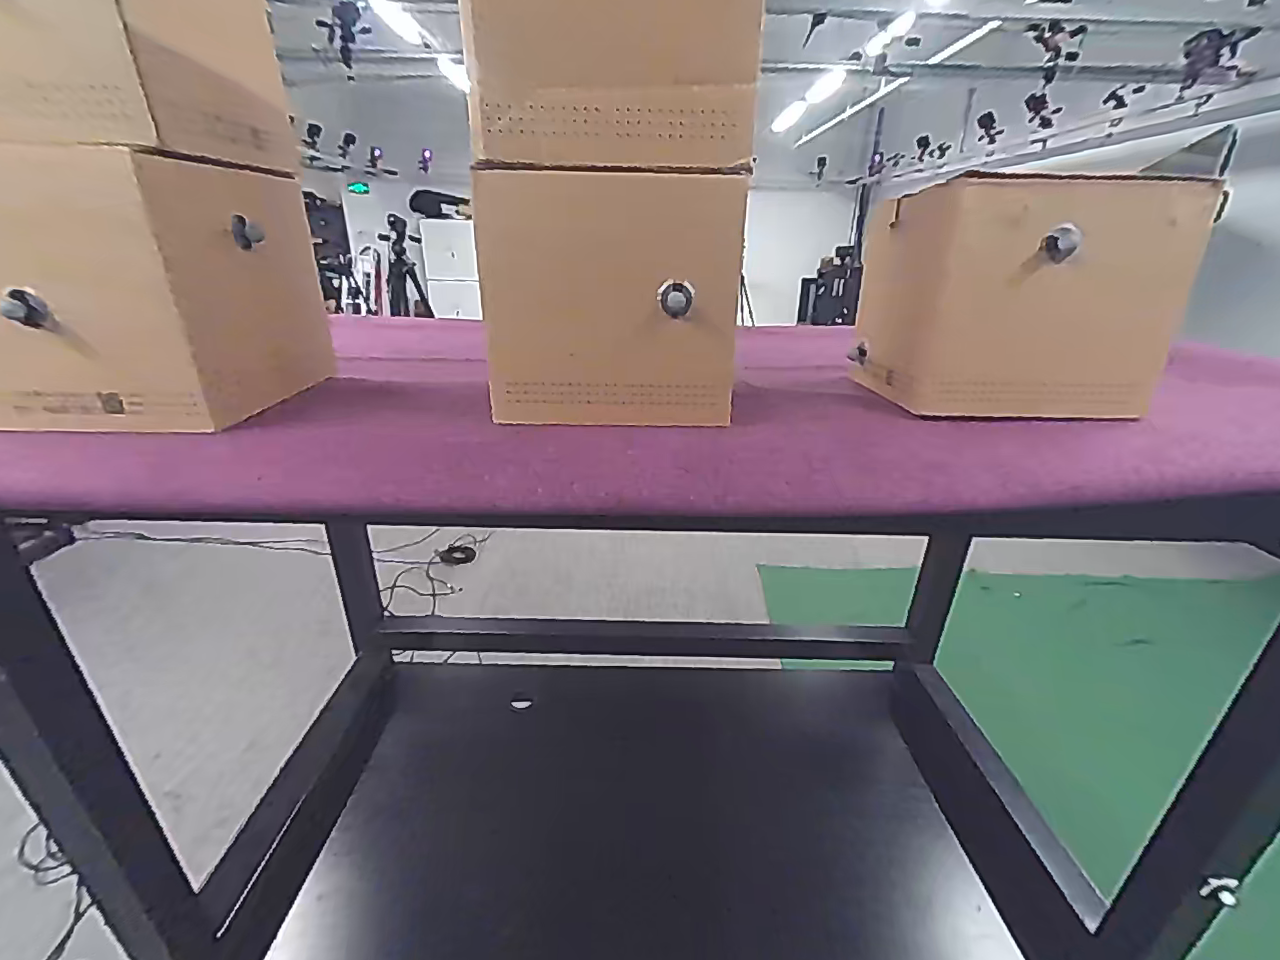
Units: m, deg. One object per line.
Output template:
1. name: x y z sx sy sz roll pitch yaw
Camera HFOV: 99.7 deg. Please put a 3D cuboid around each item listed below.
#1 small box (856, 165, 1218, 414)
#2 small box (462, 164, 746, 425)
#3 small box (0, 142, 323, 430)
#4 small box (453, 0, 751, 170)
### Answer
1. small box: 0.298 -0.155 0.459 0.179 0.176 0.168 1 22 1
2. small box: -0.024 -0.146 0.433 0.179 0.176 0.168 -1 24 -2
3. small box: -0.365 -0.141 0.398 0.168 0.176 0.179 1 25 -3
4. small box: -0.024 -0.296 0.369 0.179 0.176 0.168 0 24 -3
